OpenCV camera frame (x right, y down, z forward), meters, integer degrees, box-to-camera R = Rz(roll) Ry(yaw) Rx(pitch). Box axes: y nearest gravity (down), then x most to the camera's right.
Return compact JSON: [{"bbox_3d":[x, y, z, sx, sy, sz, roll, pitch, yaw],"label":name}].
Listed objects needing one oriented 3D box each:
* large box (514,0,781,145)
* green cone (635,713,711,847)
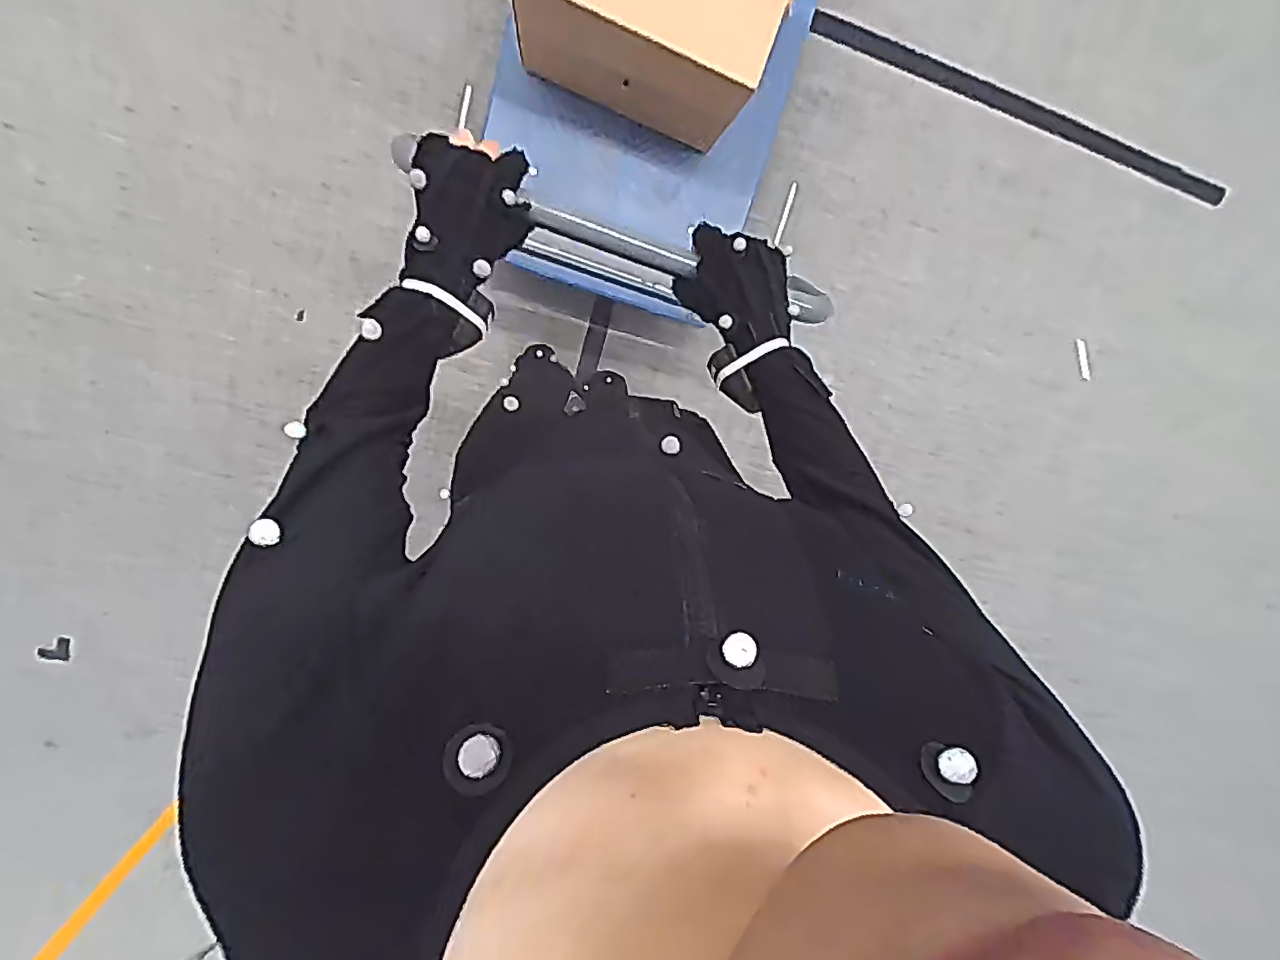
[{"bbox_3d":[0.024,-0.861,0.938,0.408,0.320,0.320,17,101,-12],"label":"large box"},{"bbox_3d":[0.129,0.882,1.555,0.202,0.368,0.200,18,101,-13],"label":"green cone"}]
